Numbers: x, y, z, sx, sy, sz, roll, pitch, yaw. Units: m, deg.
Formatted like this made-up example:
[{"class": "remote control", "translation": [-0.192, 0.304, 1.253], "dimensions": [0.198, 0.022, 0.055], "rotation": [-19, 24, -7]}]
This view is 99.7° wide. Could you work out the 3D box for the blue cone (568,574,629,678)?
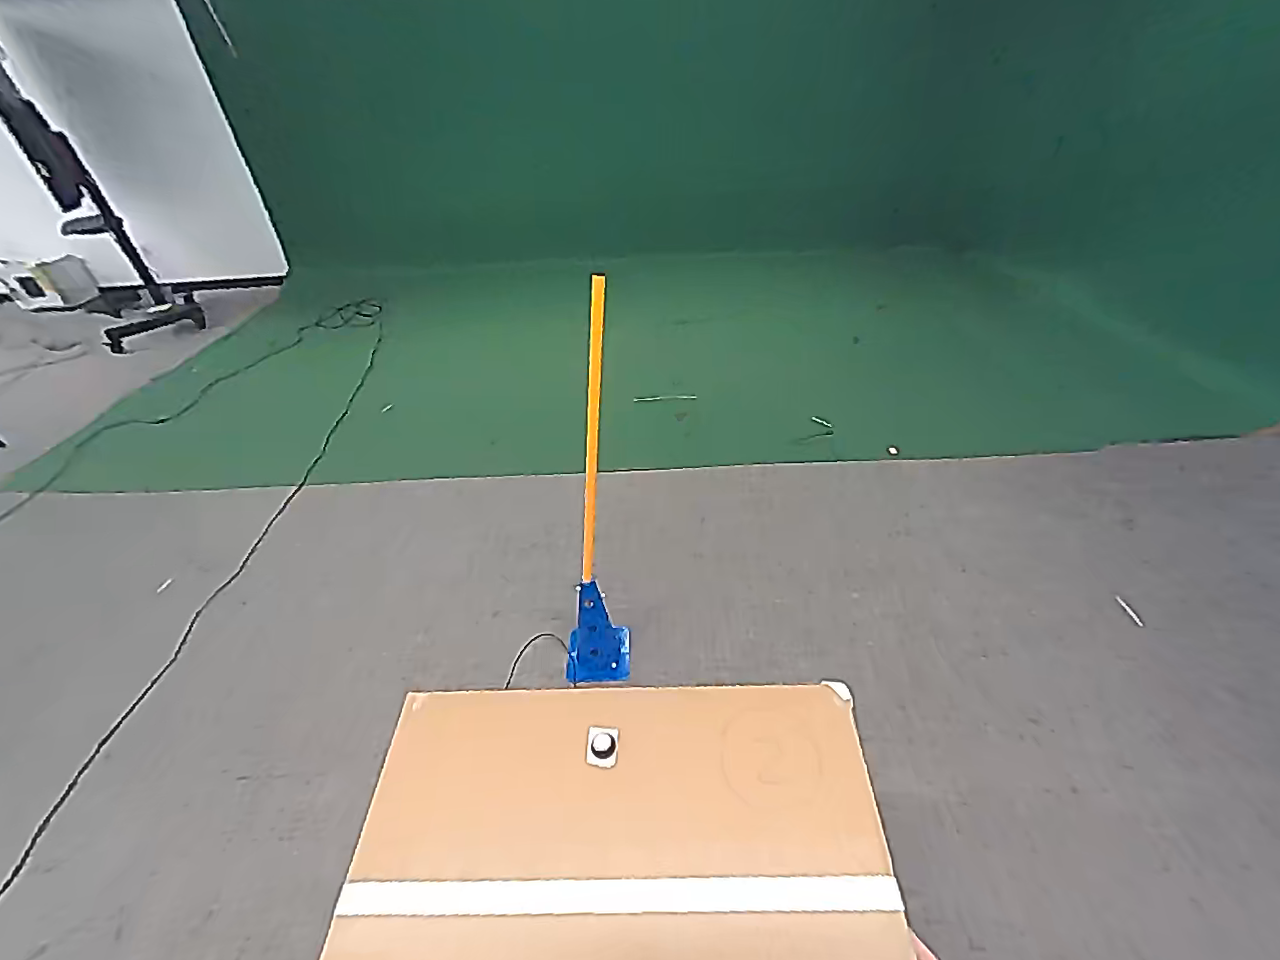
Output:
[{"class": "blue cone", "translation": [-0.138, 0.416, 1.630], "dimensions": [0.193, 0.380, 0.192], "rotation": [-3, 38, -2]}]
